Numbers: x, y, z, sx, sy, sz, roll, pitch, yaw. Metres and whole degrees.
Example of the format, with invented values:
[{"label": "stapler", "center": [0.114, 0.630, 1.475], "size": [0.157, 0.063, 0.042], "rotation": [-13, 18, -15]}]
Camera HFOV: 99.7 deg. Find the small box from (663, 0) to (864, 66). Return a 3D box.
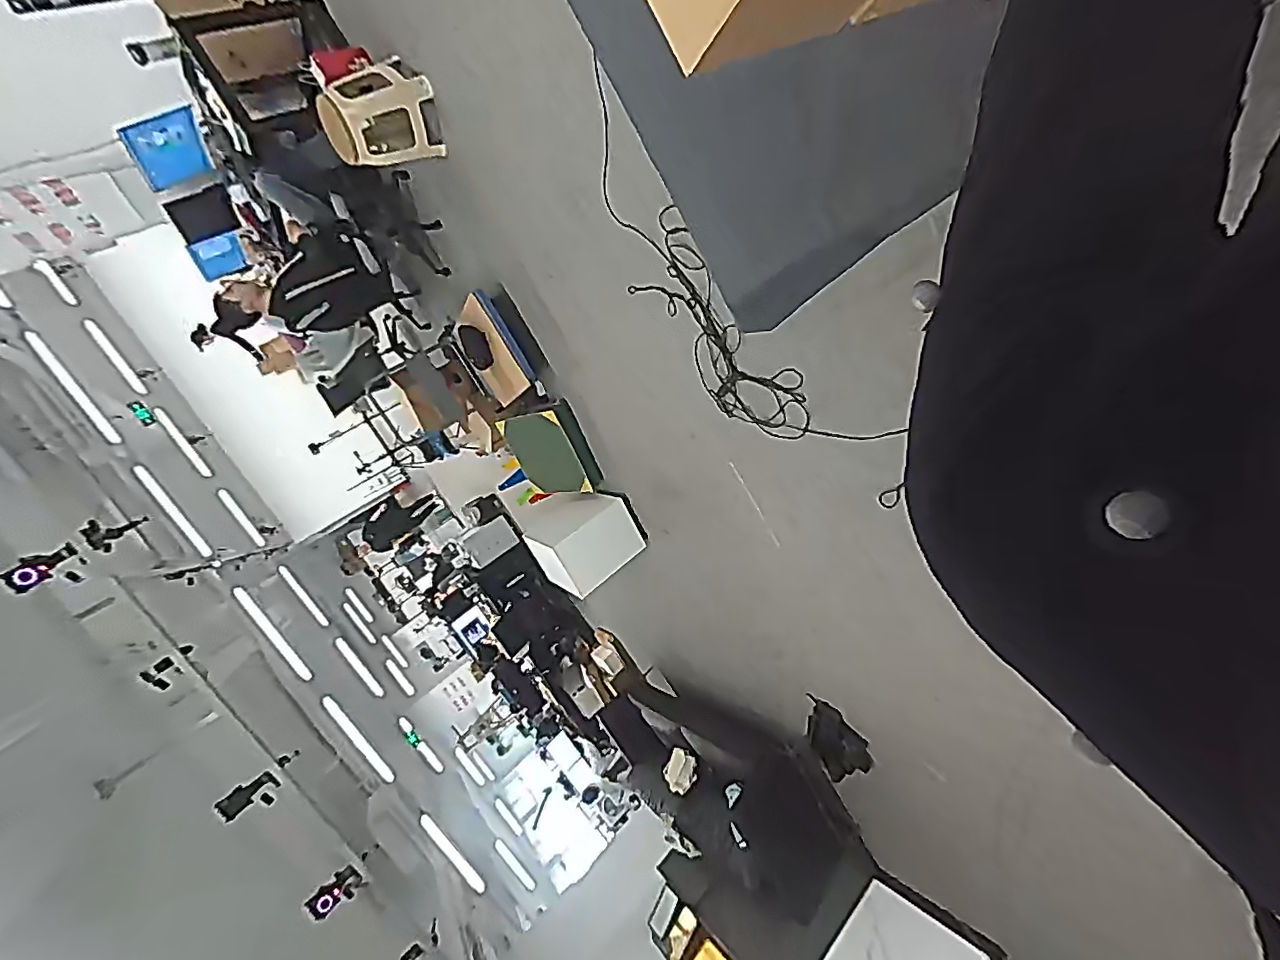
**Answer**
[{"label": "small box", "center": [0.095, -0.386, 0.296], "size": [0.168, 0.176, 0.179], "rotation": [60, 156, -10]}]
